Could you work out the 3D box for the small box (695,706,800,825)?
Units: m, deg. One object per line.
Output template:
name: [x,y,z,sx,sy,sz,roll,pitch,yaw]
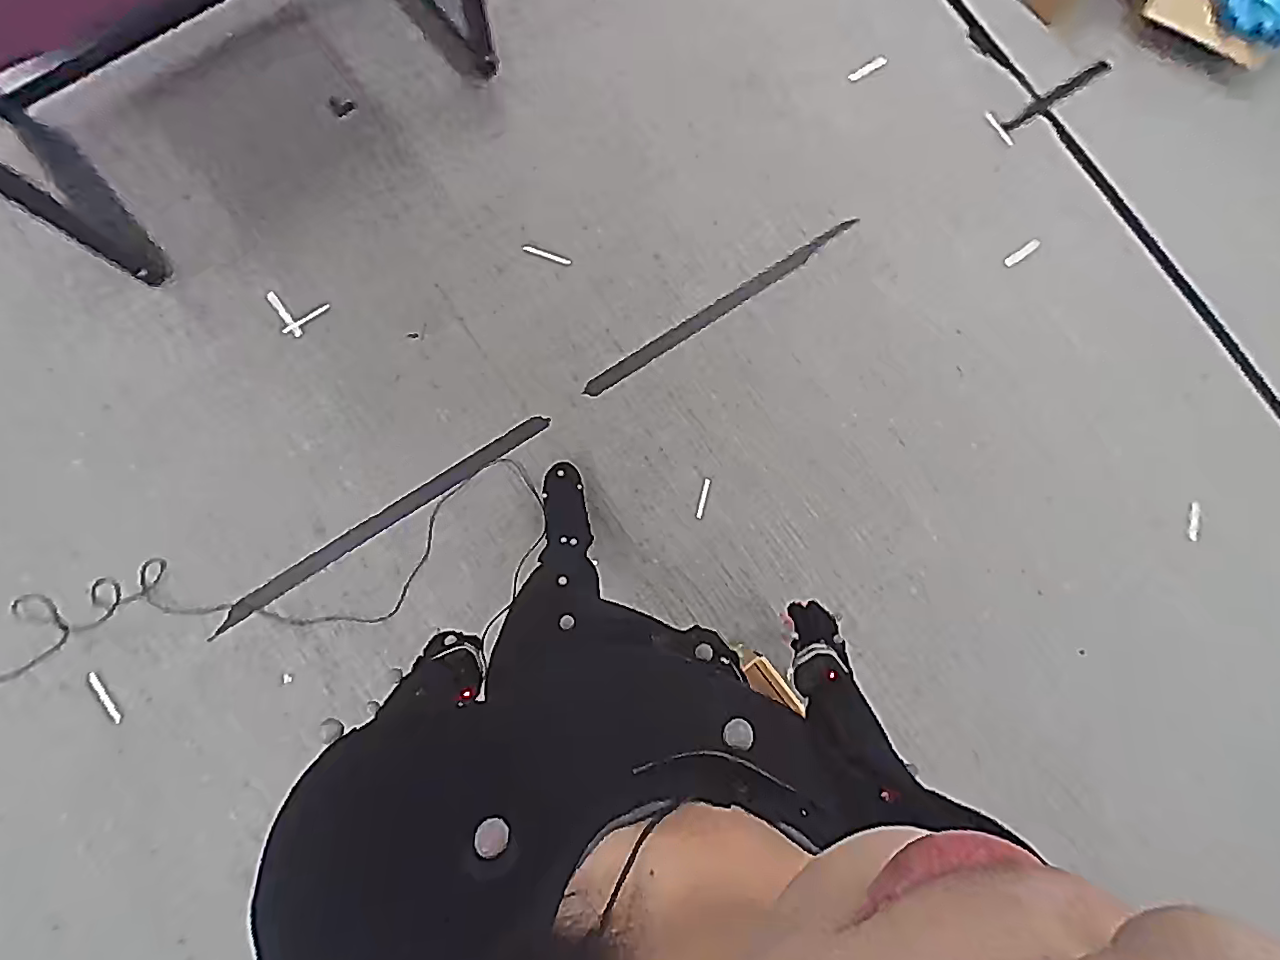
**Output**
small box: [0.261,0.704,1.355,0.168,0.176,0.179,-36,86,-8]
